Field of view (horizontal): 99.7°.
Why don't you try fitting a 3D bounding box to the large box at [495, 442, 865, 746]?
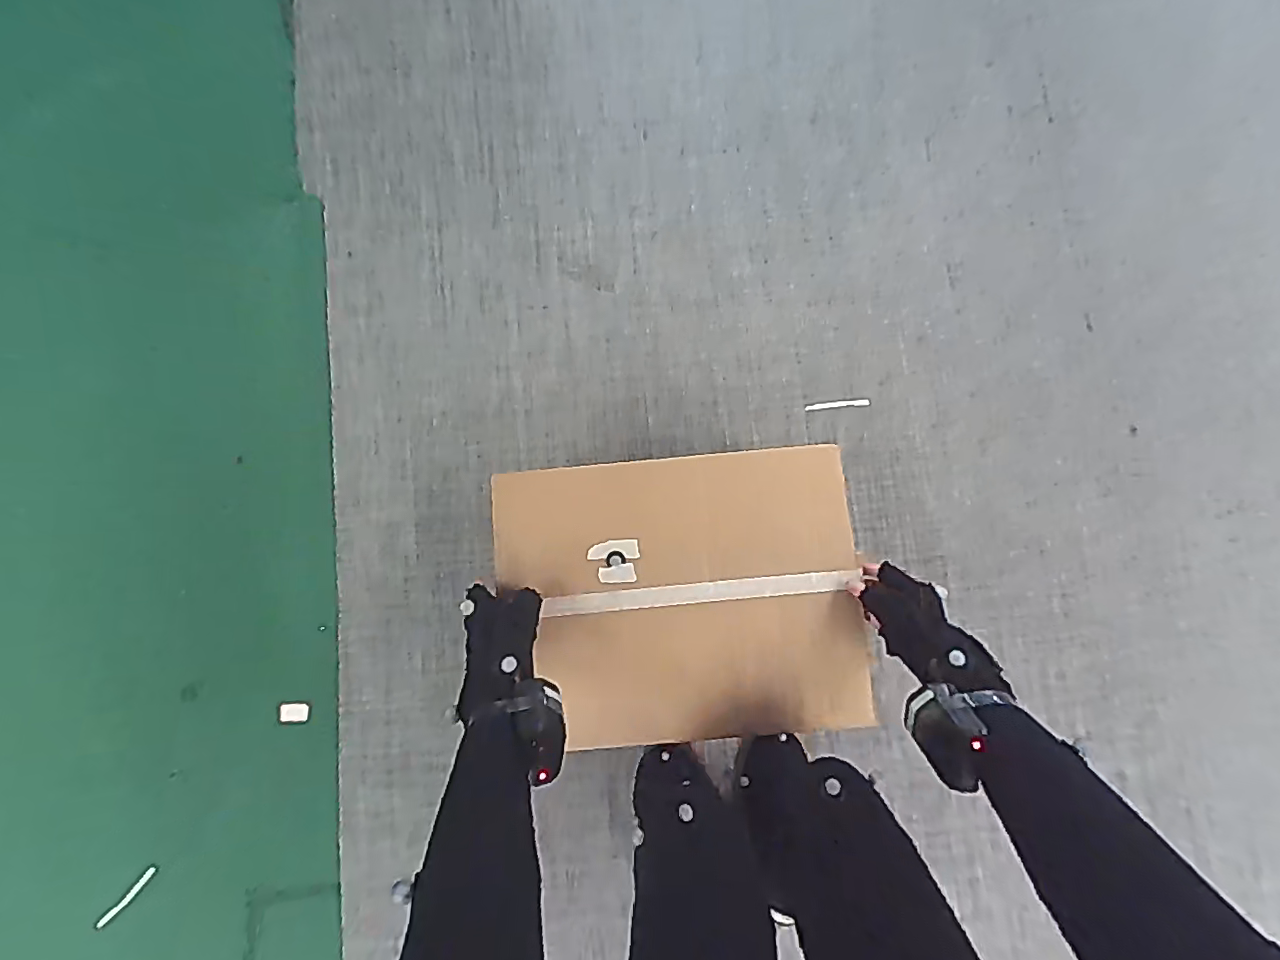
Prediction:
[{"bbox_3d":[0.045,0.142,0.763,0.408,0.320,0.320,-5,83,1],"label":"large box"}]
